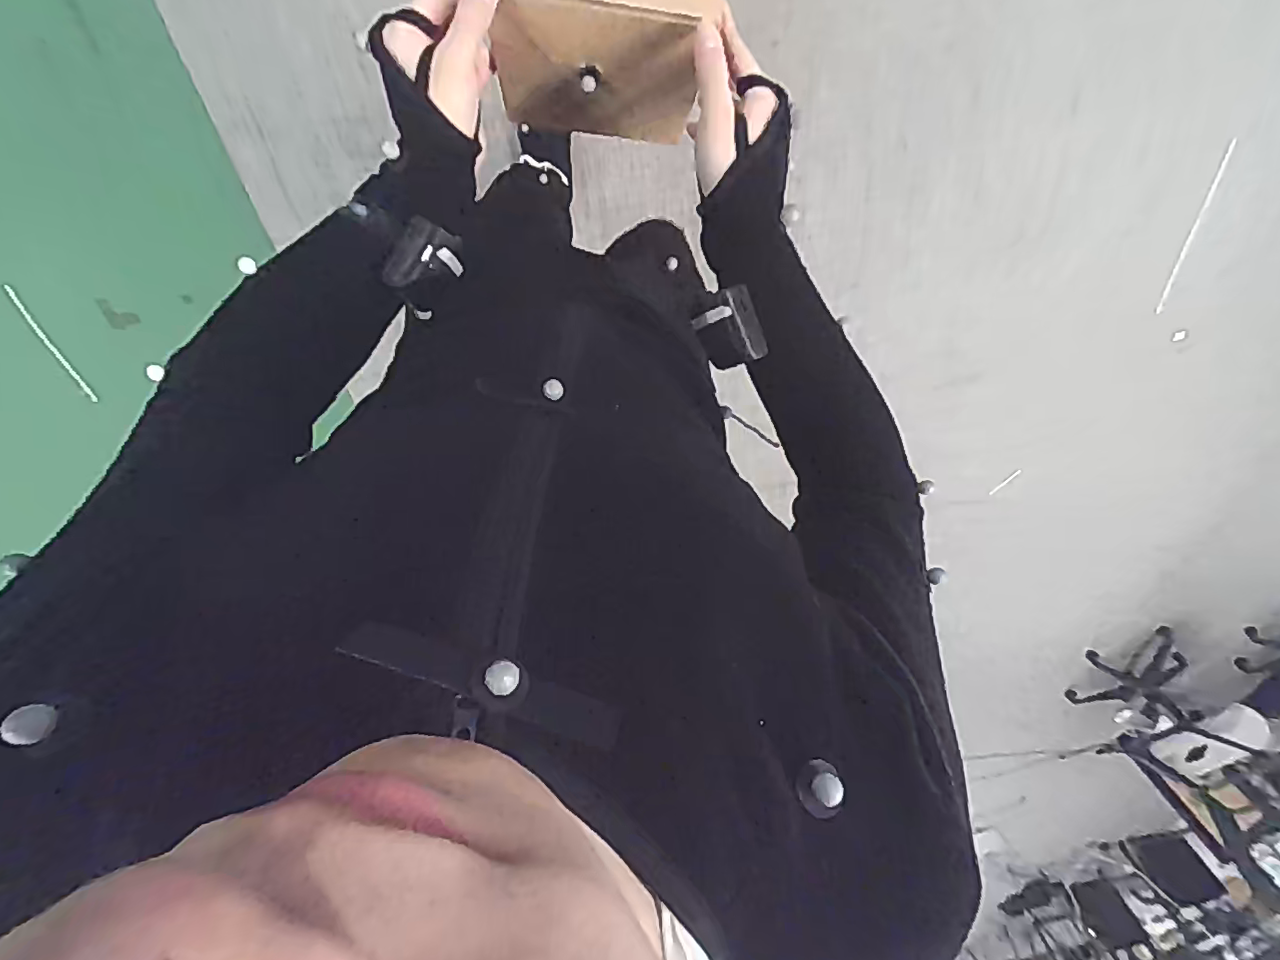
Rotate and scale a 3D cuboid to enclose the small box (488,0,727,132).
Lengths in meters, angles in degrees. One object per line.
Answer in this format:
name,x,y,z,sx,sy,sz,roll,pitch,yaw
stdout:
small box,-0.028,-0.429,0.457,0.179,0.176,0.168,3,94,-7
